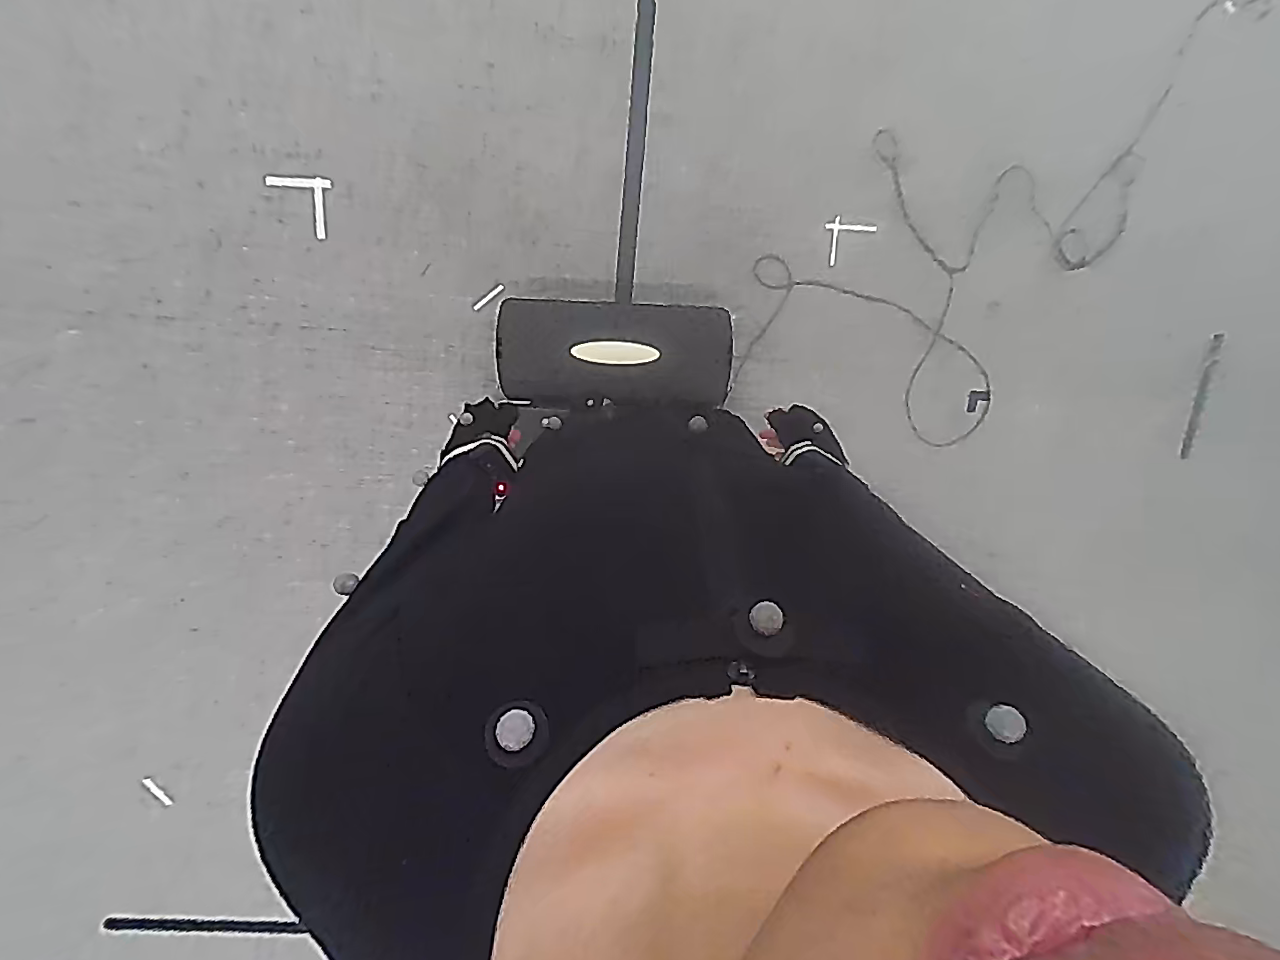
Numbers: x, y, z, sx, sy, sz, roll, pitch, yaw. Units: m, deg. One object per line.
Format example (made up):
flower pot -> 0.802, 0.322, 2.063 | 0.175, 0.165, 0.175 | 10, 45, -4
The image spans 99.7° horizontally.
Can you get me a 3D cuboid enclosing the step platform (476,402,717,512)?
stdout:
step platform -> -0.120, -0.068, 1.564 | 0.684, 0.204, 0.286 | 2, 100, -2
